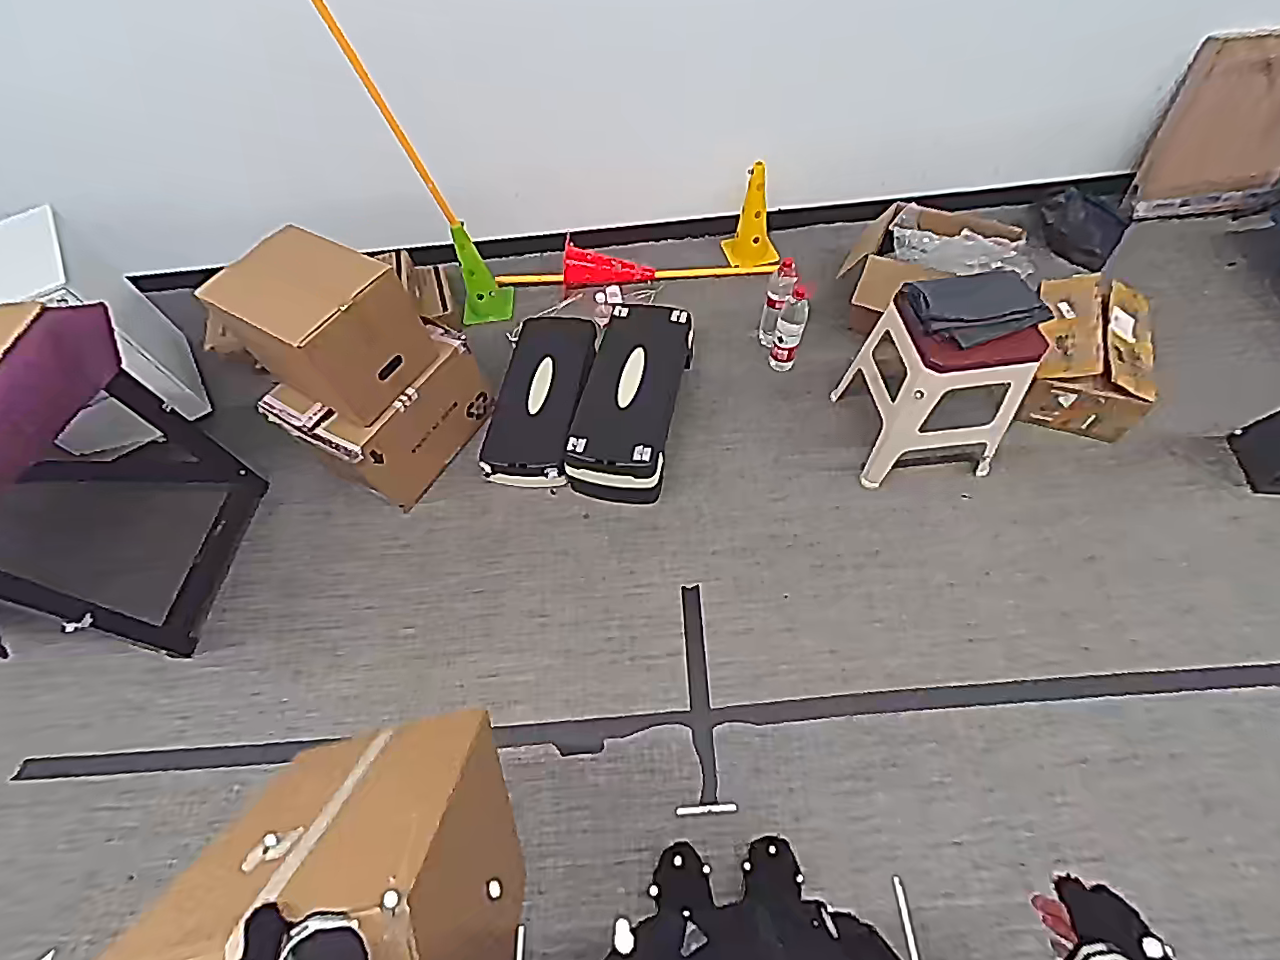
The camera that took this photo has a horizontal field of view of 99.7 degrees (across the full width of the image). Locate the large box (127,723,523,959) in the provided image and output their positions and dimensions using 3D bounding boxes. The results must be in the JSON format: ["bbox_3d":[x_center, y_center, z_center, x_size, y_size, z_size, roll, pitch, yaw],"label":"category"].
[{"bbox_3d":[-0.359,0.599,0.724,0.320,0.408,0.320,-13,93,-4],"label":"large box"}]
